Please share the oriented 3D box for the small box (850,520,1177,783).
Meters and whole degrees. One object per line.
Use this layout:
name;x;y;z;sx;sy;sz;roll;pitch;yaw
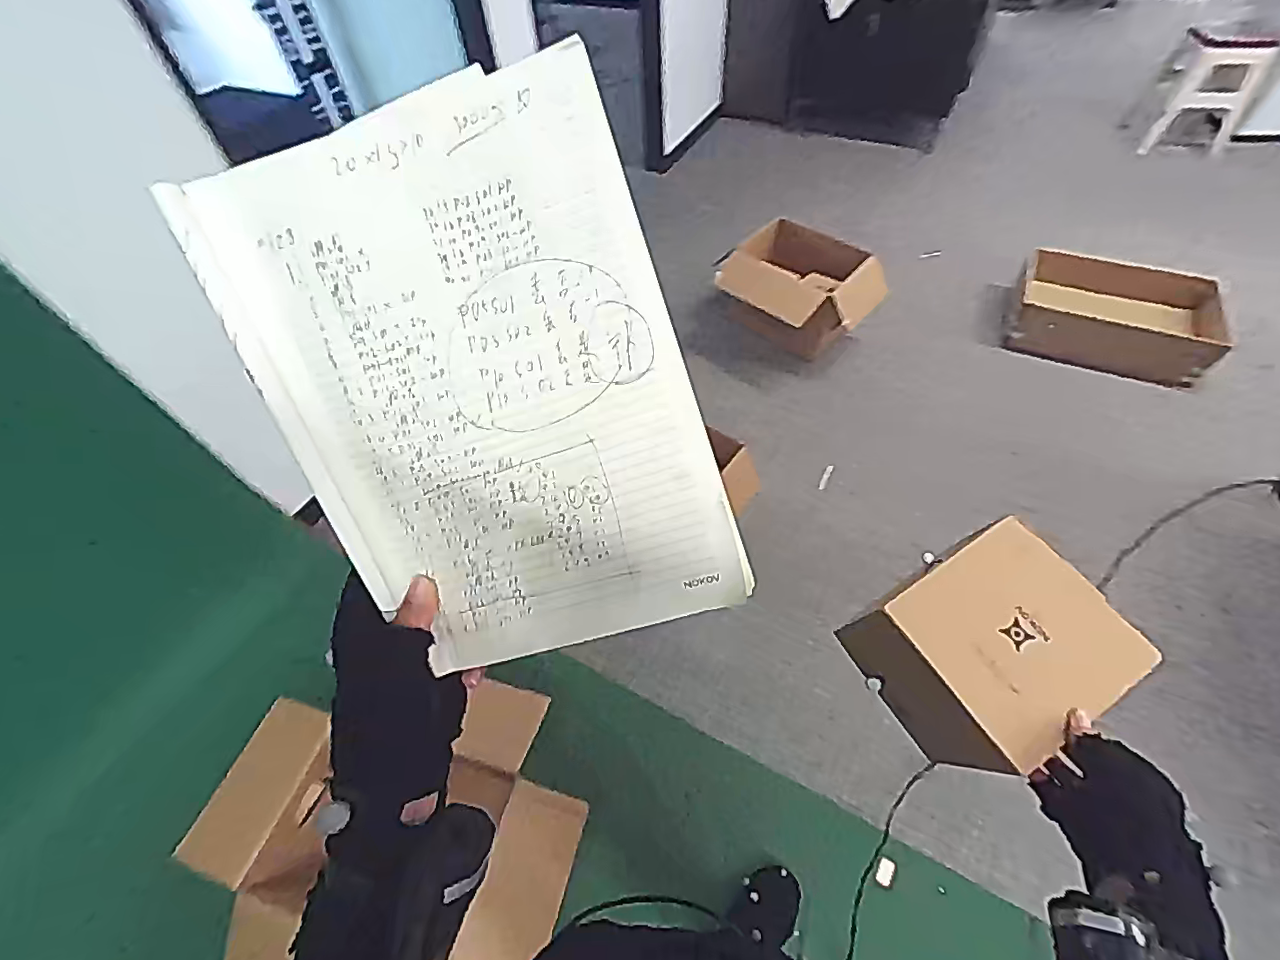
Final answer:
small box;0.350;0.171;0.549;0.179;0.176;0.168;-30;68;-10
